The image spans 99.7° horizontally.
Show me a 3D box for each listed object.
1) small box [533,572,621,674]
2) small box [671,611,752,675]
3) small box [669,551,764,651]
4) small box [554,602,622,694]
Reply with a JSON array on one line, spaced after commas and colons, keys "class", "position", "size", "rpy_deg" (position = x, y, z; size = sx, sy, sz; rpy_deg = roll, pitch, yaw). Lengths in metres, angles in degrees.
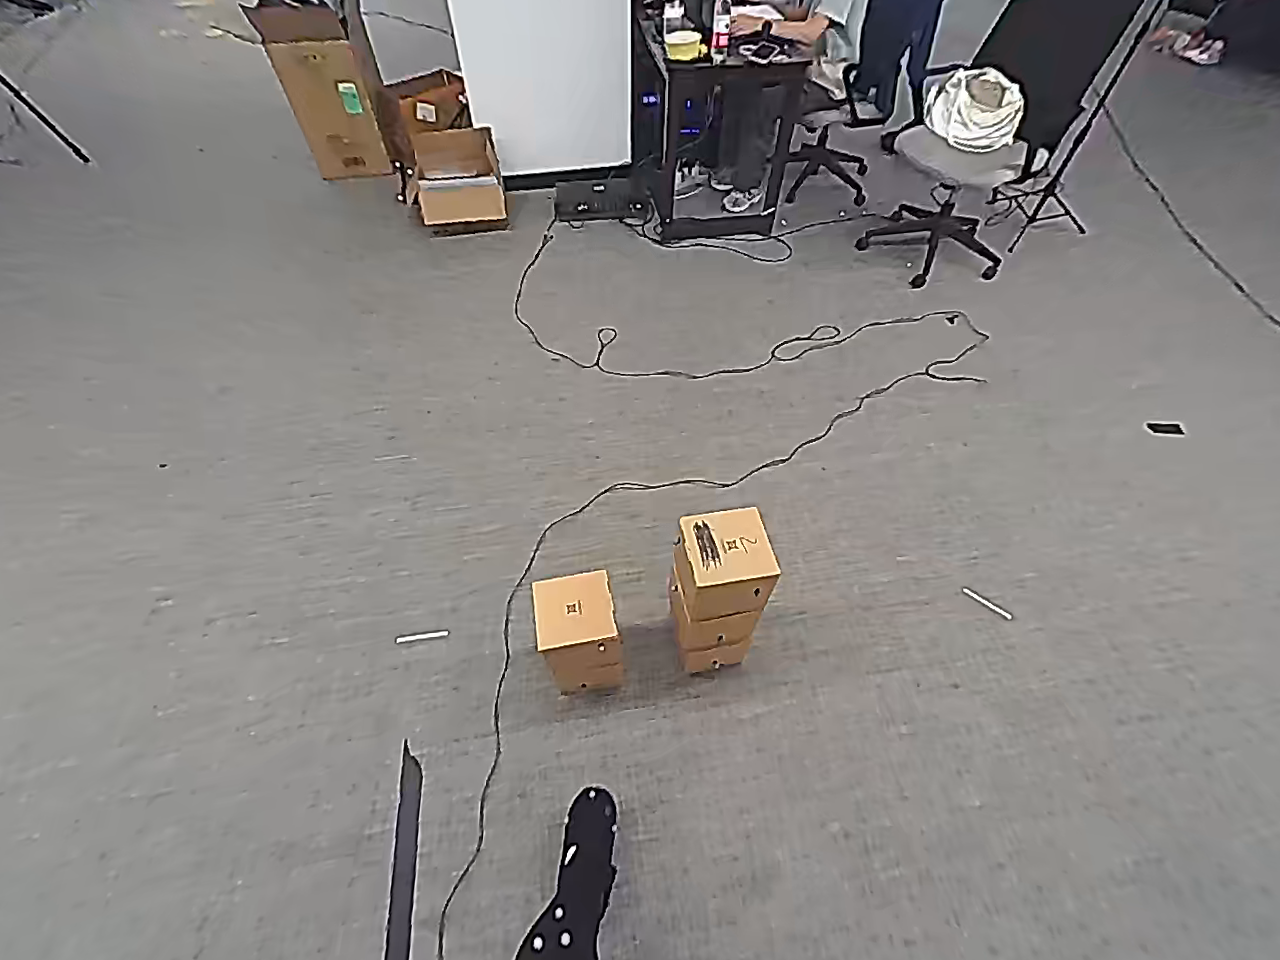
[{"class": "small box", "position": [-0.145, 0.339, 1.266], "size": [0.179, 0.176, 0.168], "rpy_deg": [-9, 54, -7]}, {"class": "small box", "position": [0.179, 0.392, 1.429], "size": [0.168, 0.176, 0.179], "rpy_deg": [-9, 54, -6]}, {"class": "small box", "position": [0.174, 0.293, 1.298], "size": [0.179, 0.176, 0.168], "rpy_deg": [-8, 53, -8]}, {"class": "small box", "position": [-0.137, 0.434, 1.397], "size": [0.168, 0.176, 0.179], "rpy_deg": [-6, 54, -4]}]
